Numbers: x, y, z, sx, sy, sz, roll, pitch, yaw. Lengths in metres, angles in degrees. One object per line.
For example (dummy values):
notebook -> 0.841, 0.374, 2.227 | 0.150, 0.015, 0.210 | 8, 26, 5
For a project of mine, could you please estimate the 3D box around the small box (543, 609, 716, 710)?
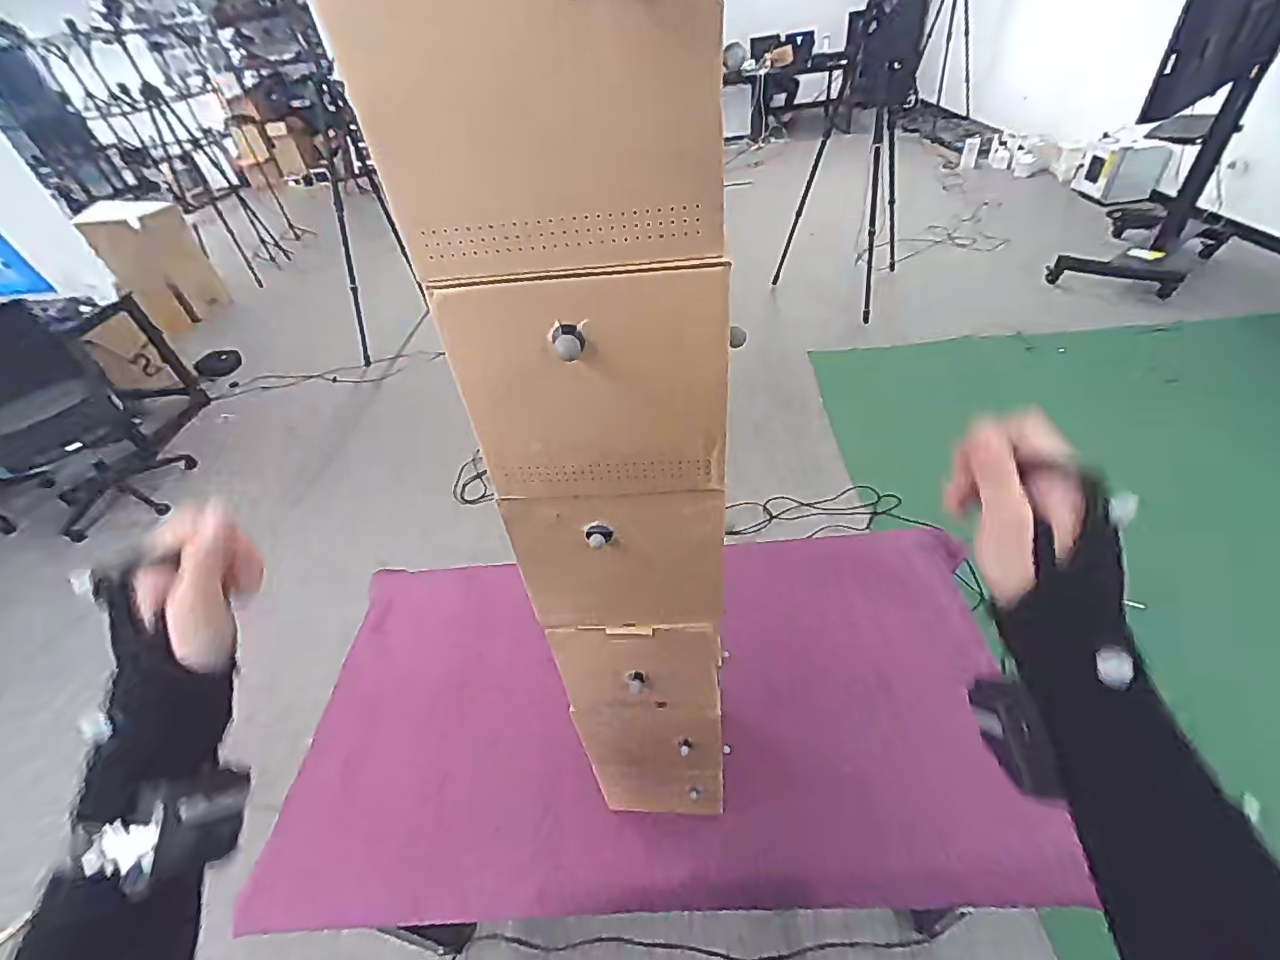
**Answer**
small box -> 0.001, 0.147, 0.623 | 0.168, 0.176, 0.179 | -2, 41, 7

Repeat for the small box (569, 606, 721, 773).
small box -> 0.018, 0.273, 0.724 | 0.179, 0.176, 0.168 | -2, 41, 8

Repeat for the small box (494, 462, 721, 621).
small box -> -0.016, 0.021, 0.518 | 0.179, 0.176, 0.168 | -2, 41, 5

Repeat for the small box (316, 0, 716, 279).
small box -> -0.046, -0.231, 0.312 | 0.179, 0.176, 0.168 | -3, 41, 6

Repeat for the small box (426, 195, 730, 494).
small box -> -0.026, -0.103, 0.414 | 0.179, 0.176, 0.168 | -3, 41, 6
